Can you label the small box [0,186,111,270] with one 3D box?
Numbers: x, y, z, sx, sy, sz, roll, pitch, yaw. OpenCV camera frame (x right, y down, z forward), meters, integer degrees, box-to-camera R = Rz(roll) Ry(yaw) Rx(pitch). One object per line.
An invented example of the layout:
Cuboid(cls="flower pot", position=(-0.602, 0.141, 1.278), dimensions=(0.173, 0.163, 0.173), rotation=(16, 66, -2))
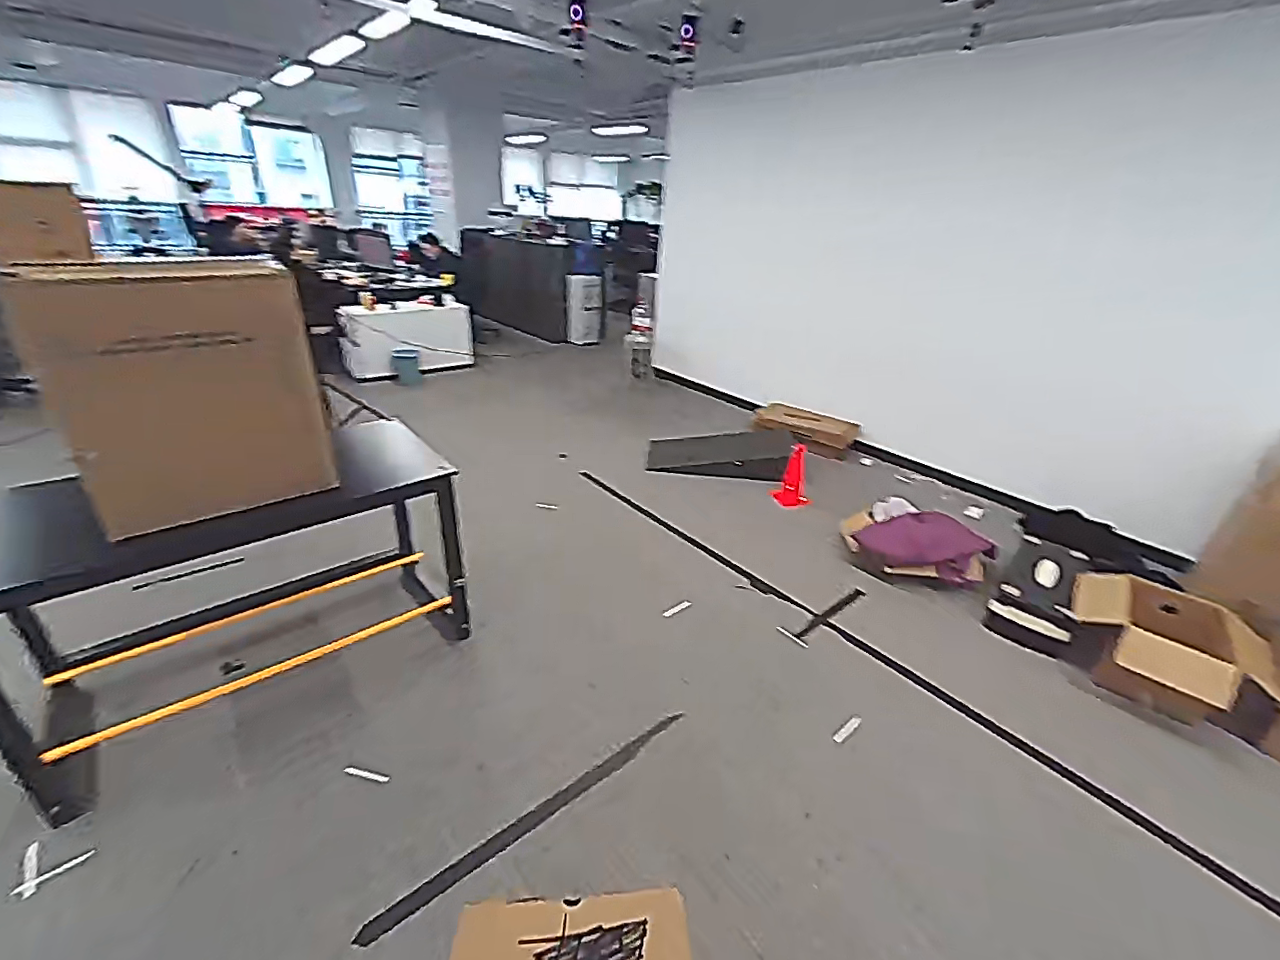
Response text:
Cuboid(cls="small box", position=(-1.365, -0.581, 1.250), dimensions=(0.168, 0.176, 0.179), rotation=(-21, 34, -40))
